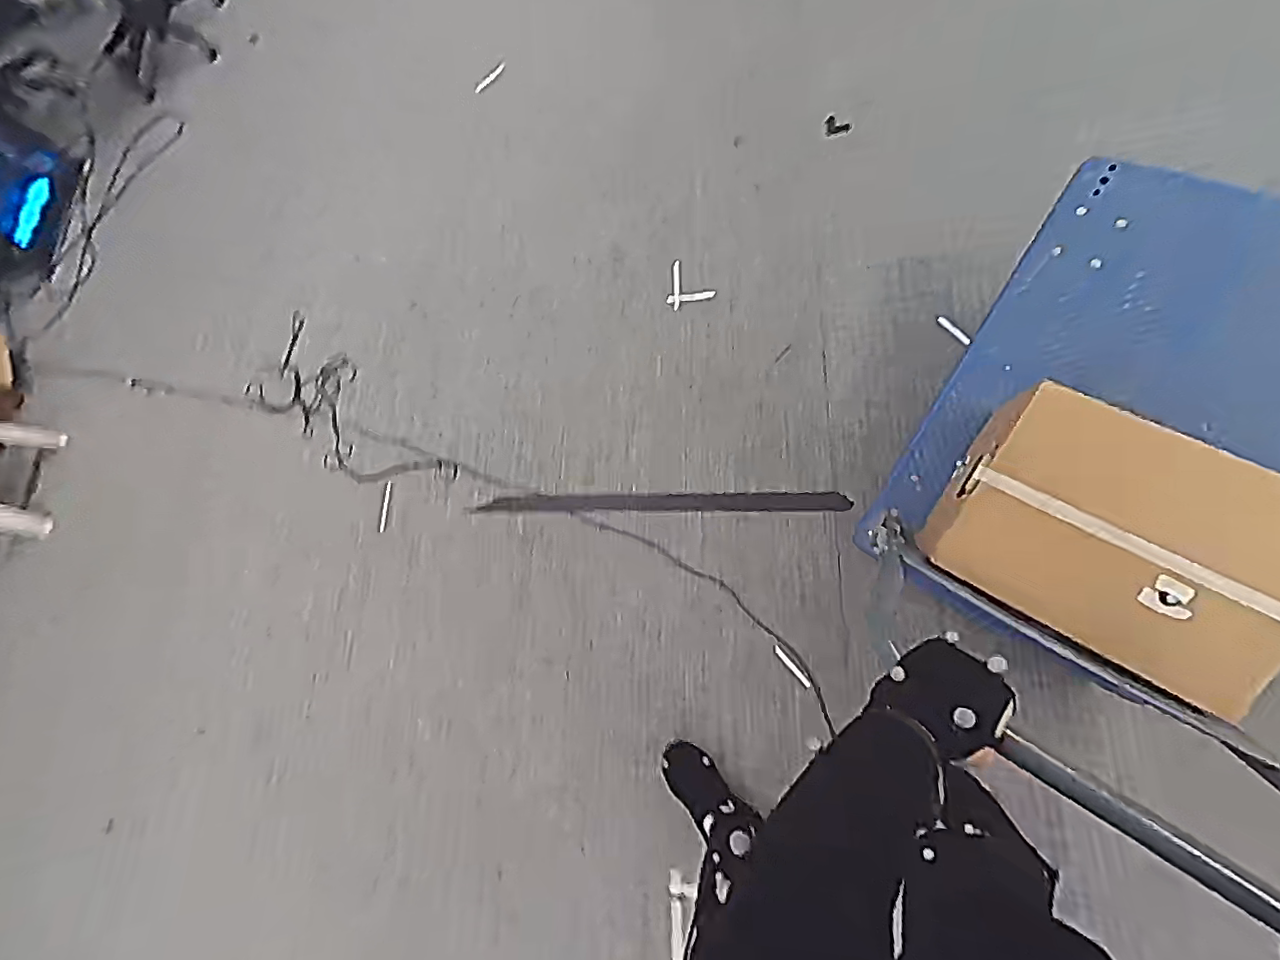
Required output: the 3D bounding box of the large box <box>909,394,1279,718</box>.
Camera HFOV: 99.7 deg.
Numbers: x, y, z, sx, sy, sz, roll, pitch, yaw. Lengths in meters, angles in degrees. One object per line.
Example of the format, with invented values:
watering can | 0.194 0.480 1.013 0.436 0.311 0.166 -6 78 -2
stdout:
large box | 0.730 0.098 0.900 0.408 0.320 0.320 31 101 19
